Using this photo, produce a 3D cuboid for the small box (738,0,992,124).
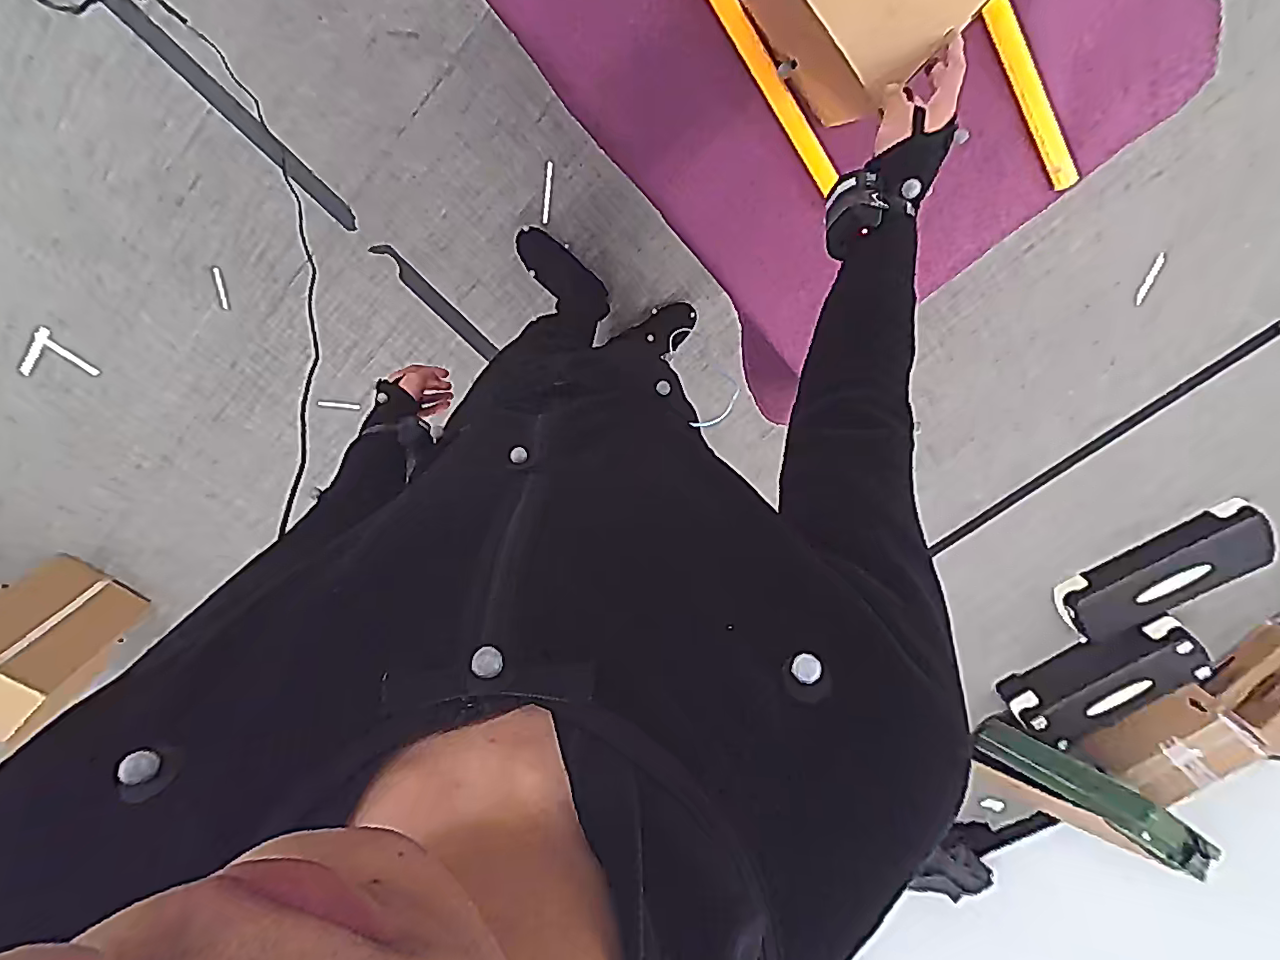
[{"bbox_3d":[0.229,-0.512,0.568,0.179,0.176,0.168,40,111,-22],"label":"small box"}]
